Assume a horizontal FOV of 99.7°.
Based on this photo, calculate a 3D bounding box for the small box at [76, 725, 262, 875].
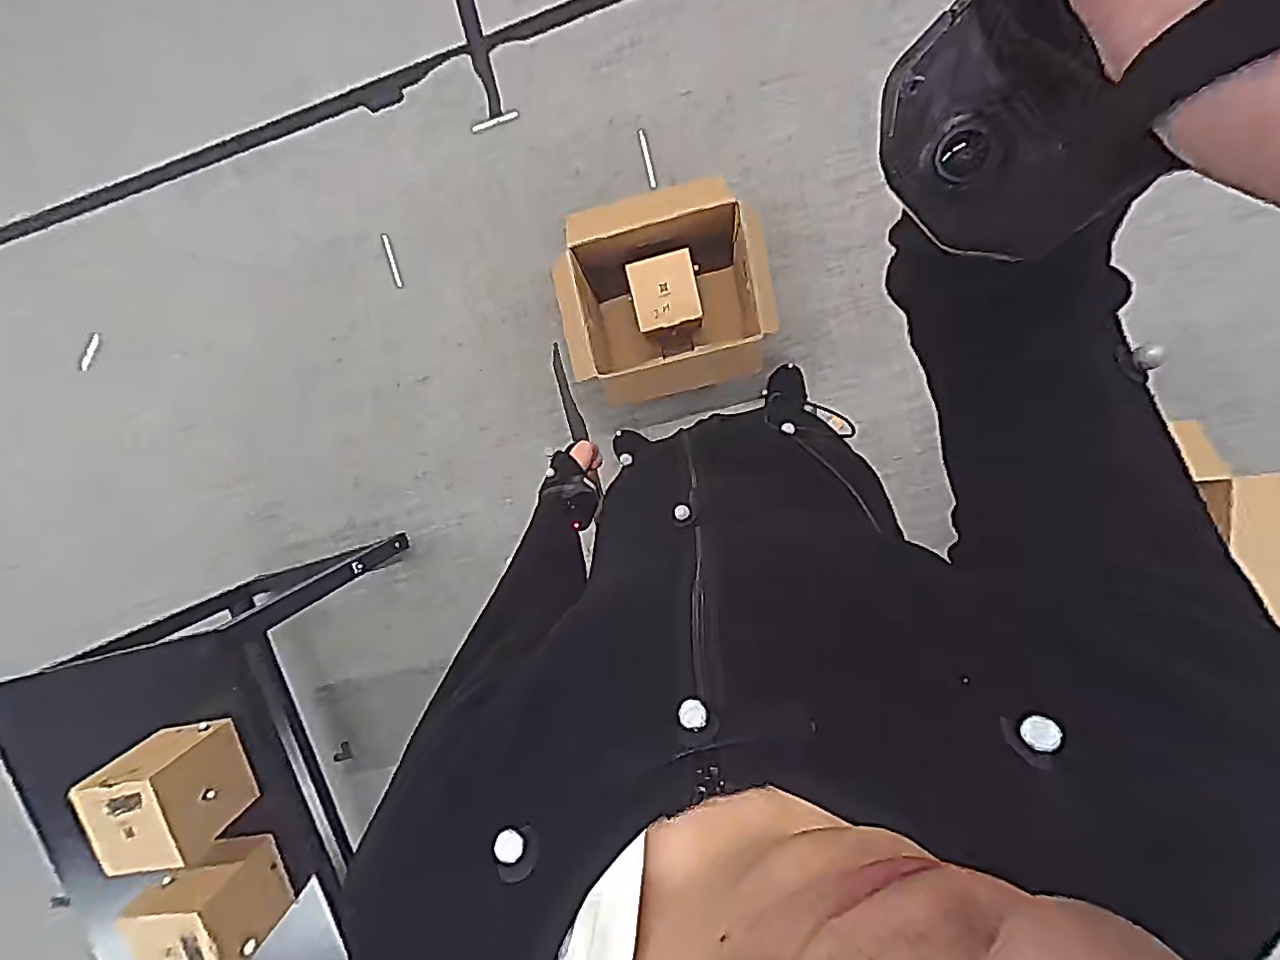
[{"bbox_3d":[-0.861,0.582,1.007,0.168,0.176,0.179,-12,100,9],"label":"small box"}]
